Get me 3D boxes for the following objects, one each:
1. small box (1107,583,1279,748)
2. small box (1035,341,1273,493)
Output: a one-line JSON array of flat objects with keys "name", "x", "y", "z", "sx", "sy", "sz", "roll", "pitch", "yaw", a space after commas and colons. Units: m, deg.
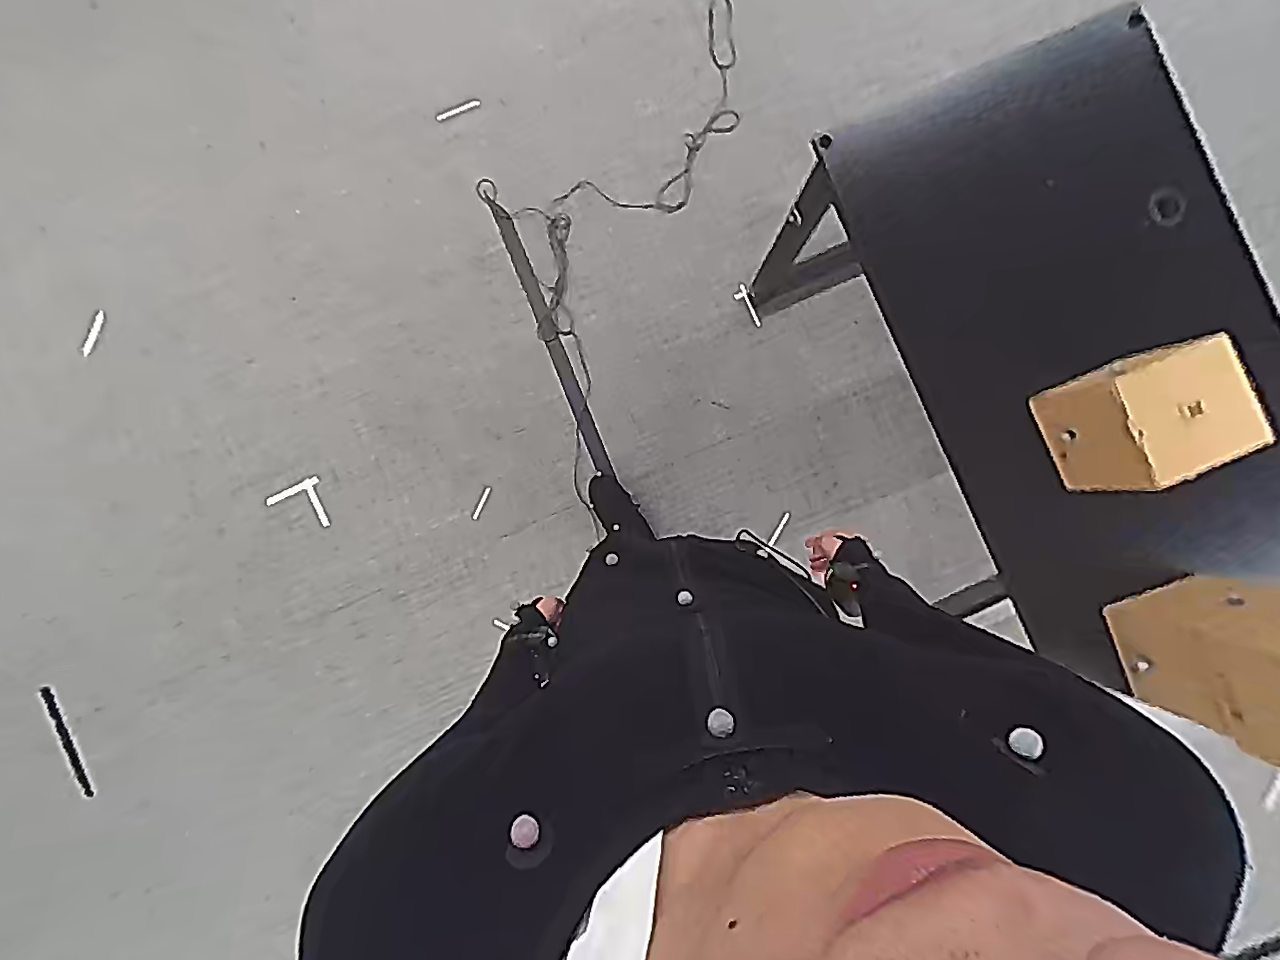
[{"name": "small box", "x": 0.880, "y": 0.266, "z": 0.821, "sx": 0.179, "sy": 0.176, "sz": 0.168, "roll": -18, "pitch": 88, "yaw": 0}, {"name": "small box", "x": 0.770, "y": -0.089, "z": 0.830, "sx": 0.179, "sy": 0.176, "sz": 0.168, "roll": -24, "pitch": 89, "yaw": 0}]
